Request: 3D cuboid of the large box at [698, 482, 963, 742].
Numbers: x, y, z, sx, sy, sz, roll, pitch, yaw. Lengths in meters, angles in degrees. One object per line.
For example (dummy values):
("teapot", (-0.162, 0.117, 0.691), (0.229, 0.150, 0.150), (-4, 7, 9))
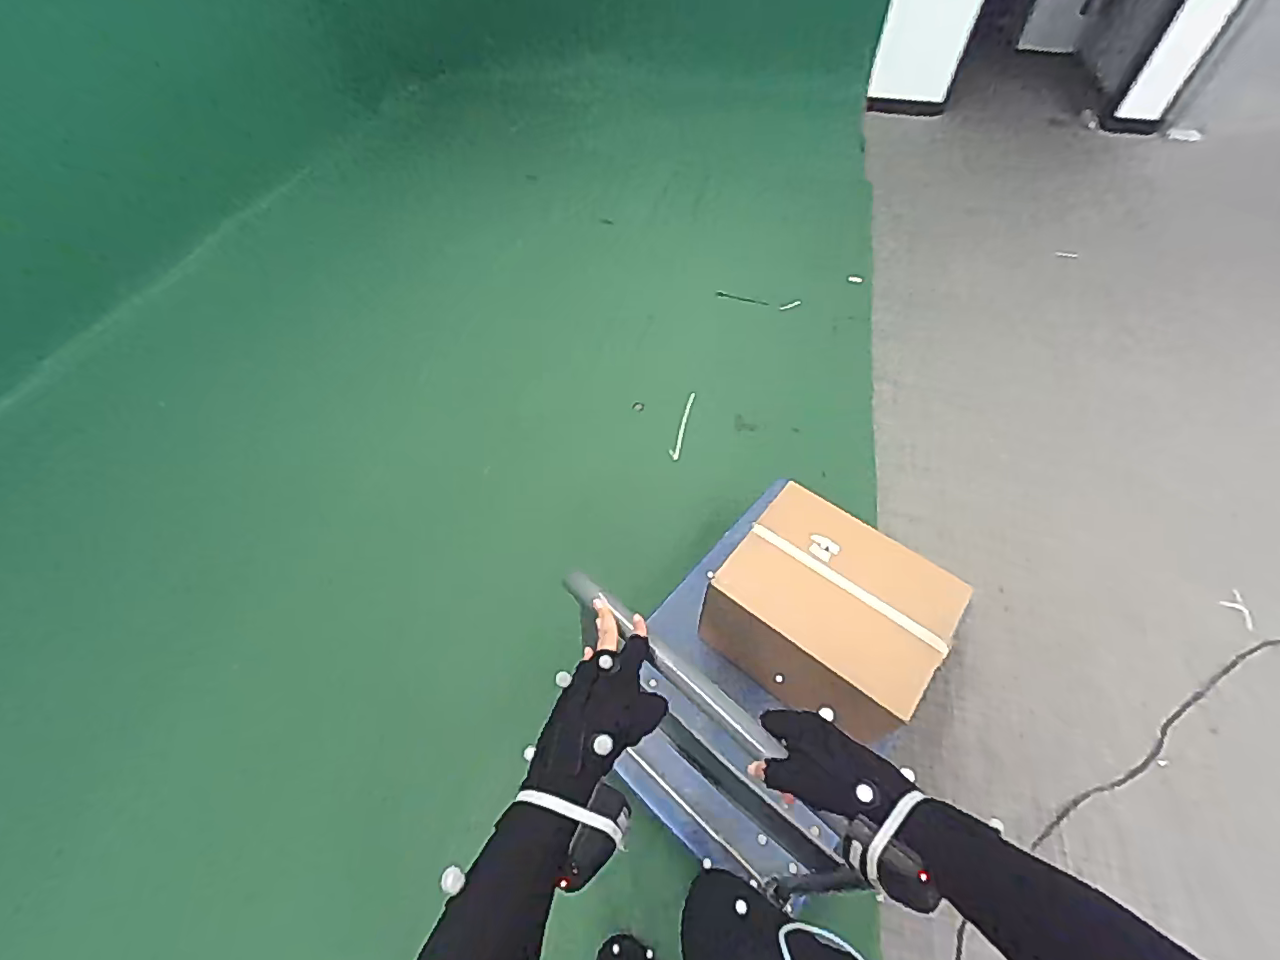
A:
("large box", (0.381, 0.284, 1.167), (0.408, 0.320, 0.320), (33, 61, 22))
